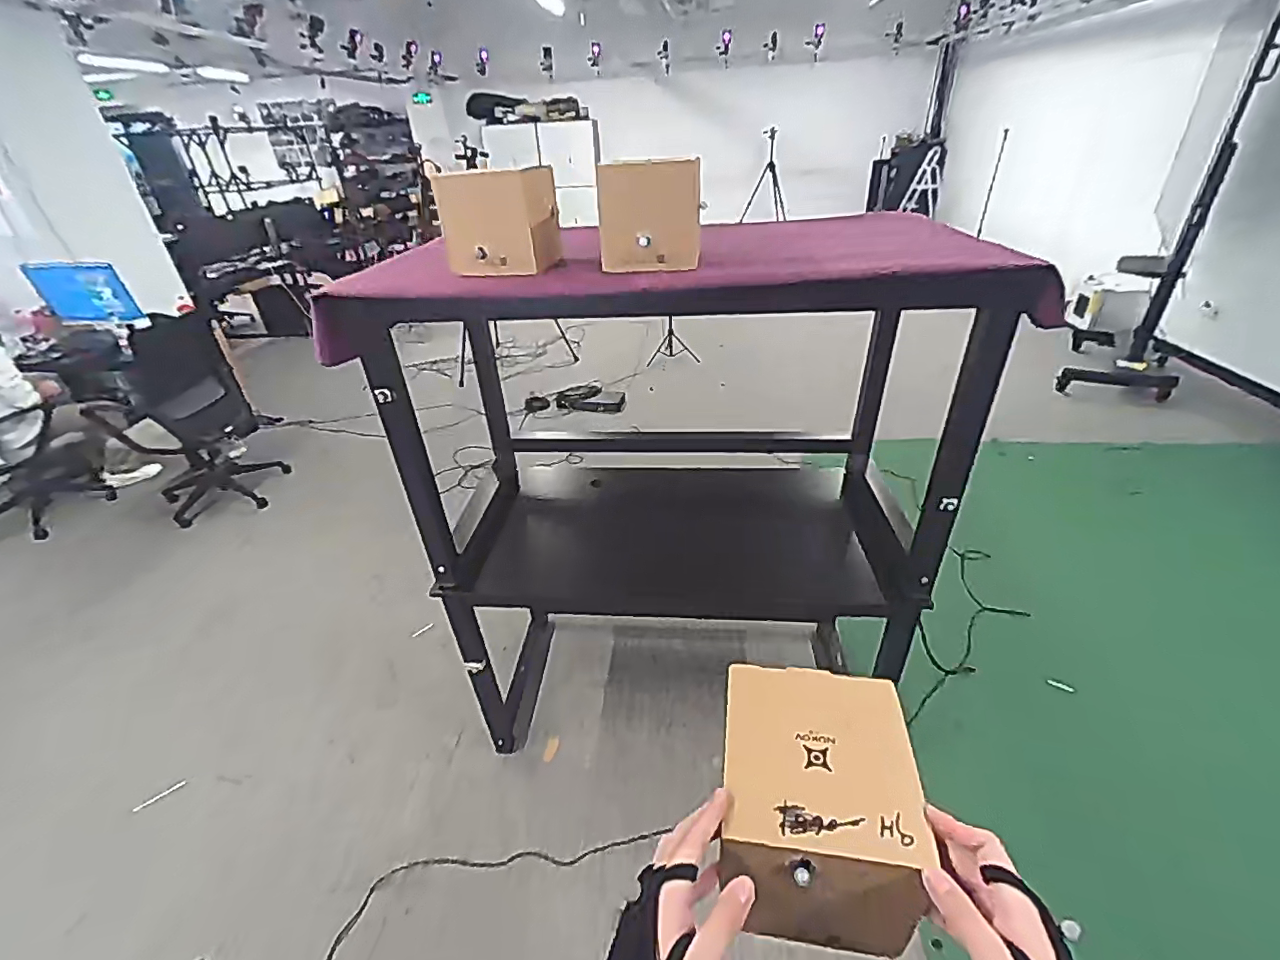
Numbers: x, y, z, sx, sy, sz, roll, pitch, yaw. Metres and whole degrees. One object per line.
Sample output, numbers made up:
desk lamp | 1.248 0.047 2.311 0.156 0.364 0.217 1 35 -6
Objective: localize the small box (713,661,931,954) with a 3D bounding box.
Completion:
small box | 0.161 0.310 0.532 0.168 0.176 0.179 2 31 12

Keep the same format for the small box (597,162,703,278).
small box | 0.025 -0.467 0.968 0.168 0.176 0.179 1 33 8

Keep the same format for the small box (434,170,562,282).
small box | -0.250 -0.472 1.003 0.168 0.176 0.179 2 32 9
